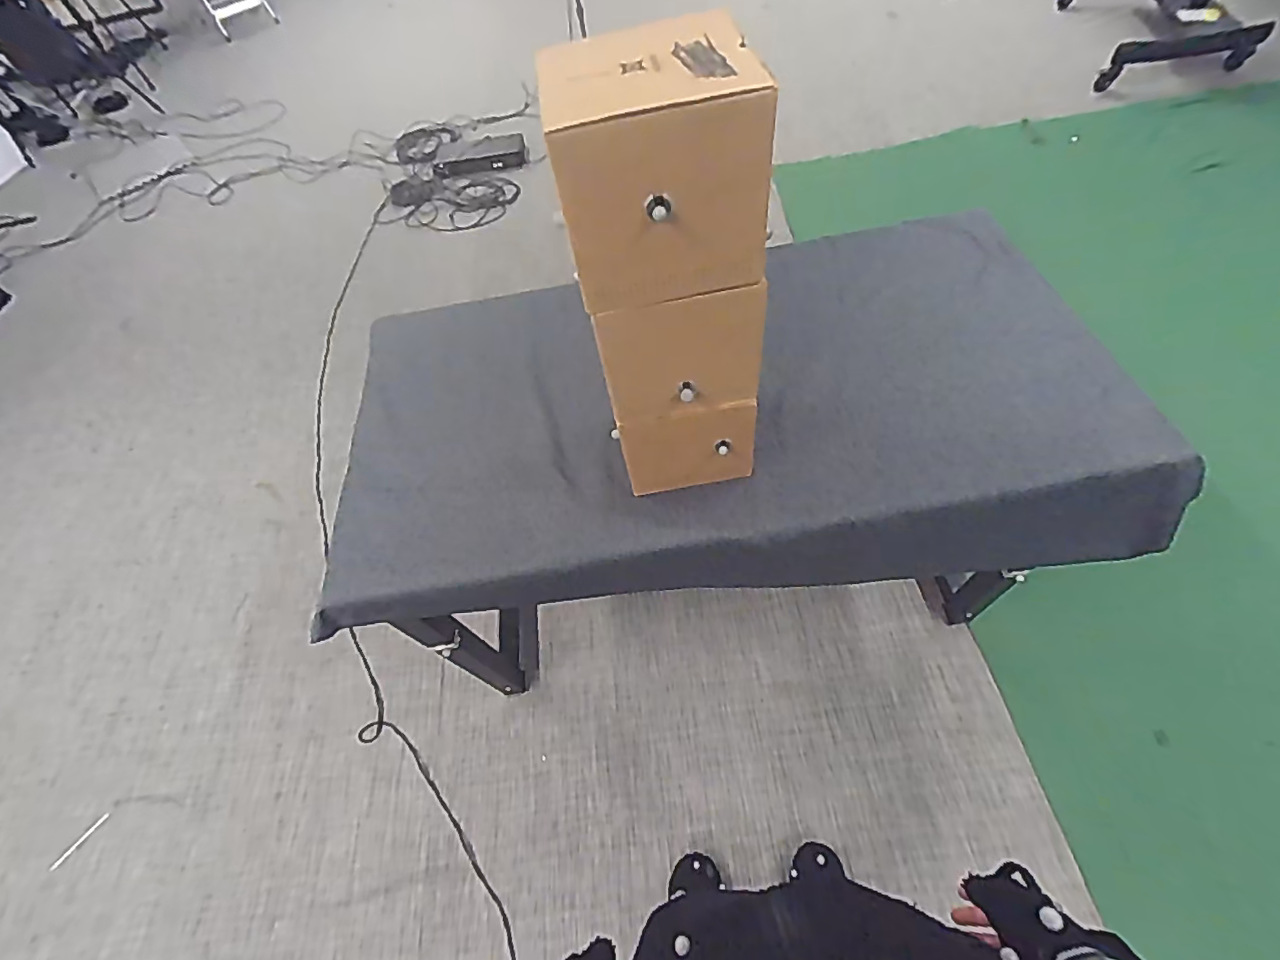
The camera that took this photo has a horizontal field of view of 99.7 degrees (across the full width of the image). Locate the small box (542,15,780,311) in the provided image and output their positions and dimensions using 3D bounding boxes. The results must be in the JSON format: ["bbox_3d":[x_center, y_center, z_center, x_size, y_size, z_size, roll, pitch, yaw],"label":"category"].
[{"bbox_3d":[0.017,-0.287,0.506,0.179,0.176,0.168,-11,56,2],"label":"small box"}]

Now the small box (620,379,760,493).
[{"bbox_3d":[0.062,-0.102,0.774,0.179,0.176,0.168,-11,55,2],"label":"small box"}]

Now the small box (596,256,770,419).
[{"bbox_3d":[0.040,-0.195,0.641,0.179,0.176,0.168,-11,55,1],"label":"small box"}]
